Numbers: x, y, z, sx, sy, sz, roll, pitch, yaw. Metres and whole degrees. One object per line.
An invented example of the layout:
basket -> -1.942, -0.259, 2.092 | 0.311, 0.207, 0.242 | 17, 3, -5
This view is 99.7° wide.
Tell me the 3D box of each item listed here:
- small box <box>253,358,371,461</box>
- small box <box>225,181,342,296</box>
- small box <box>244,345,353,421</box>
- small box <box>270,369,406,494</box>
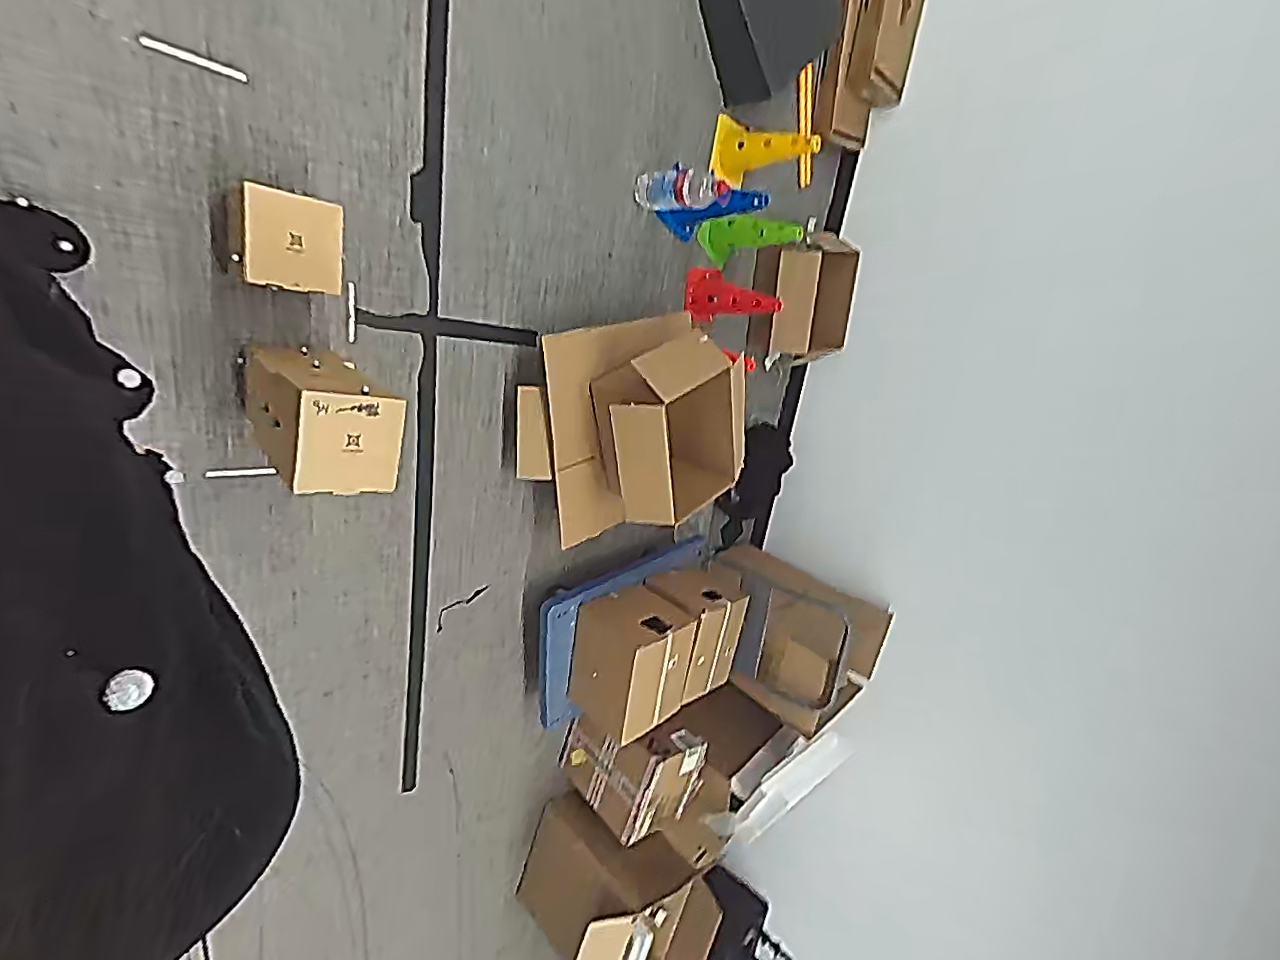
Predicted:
small box -> -0.658, -0.140, 1.080 | 0.168, 0.176, 0.179 | -4, 113, -45
small box -> -0.722, -0.484, 1.095 | 0.168, 0.176, 0.179 | -7, 114, -46
small box -> -0.758, -0.200, 1.197 | 0.179, 0.176, 0.168 | -8, 115, -46
small box -> -0.547, -0.086, 0.972 | 0.168, 0.176, 0.179 | 0, 110, -47
